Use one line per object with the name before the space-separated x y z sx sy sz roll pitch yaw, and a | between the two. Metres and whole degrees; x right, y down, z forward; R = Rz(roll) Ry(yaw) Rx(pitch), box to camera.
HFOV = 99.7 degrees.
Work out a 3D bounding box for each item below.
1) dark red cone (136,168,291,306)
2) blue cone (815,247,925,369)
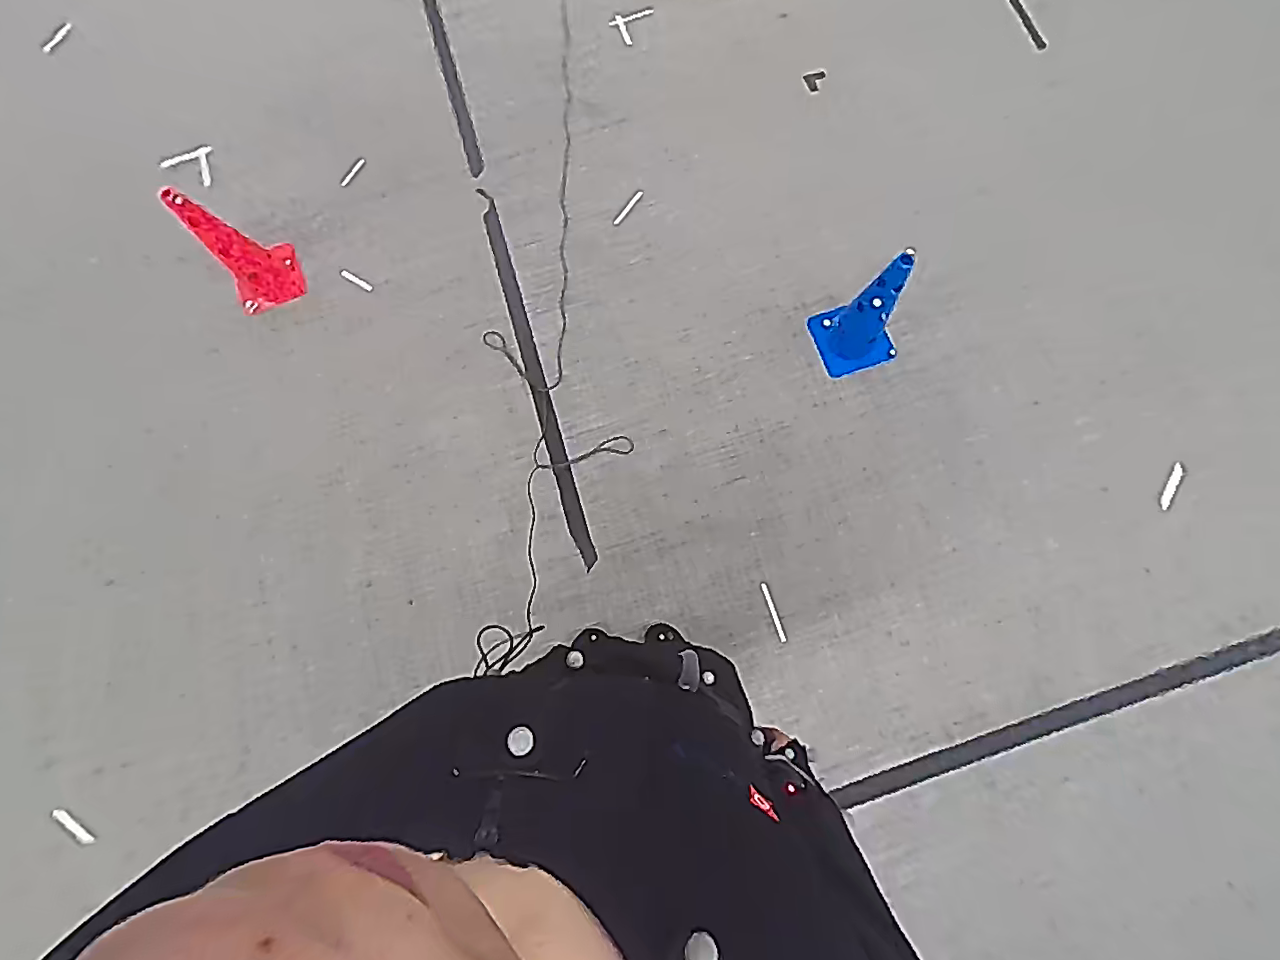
dark red cone | -1.151 -0.663 1.446 0.201 0.394 0.202 -25 77 -4
blue cone | 0.593 -0.445 1.347 0.192 0.380 0.193 -17 77 -3
